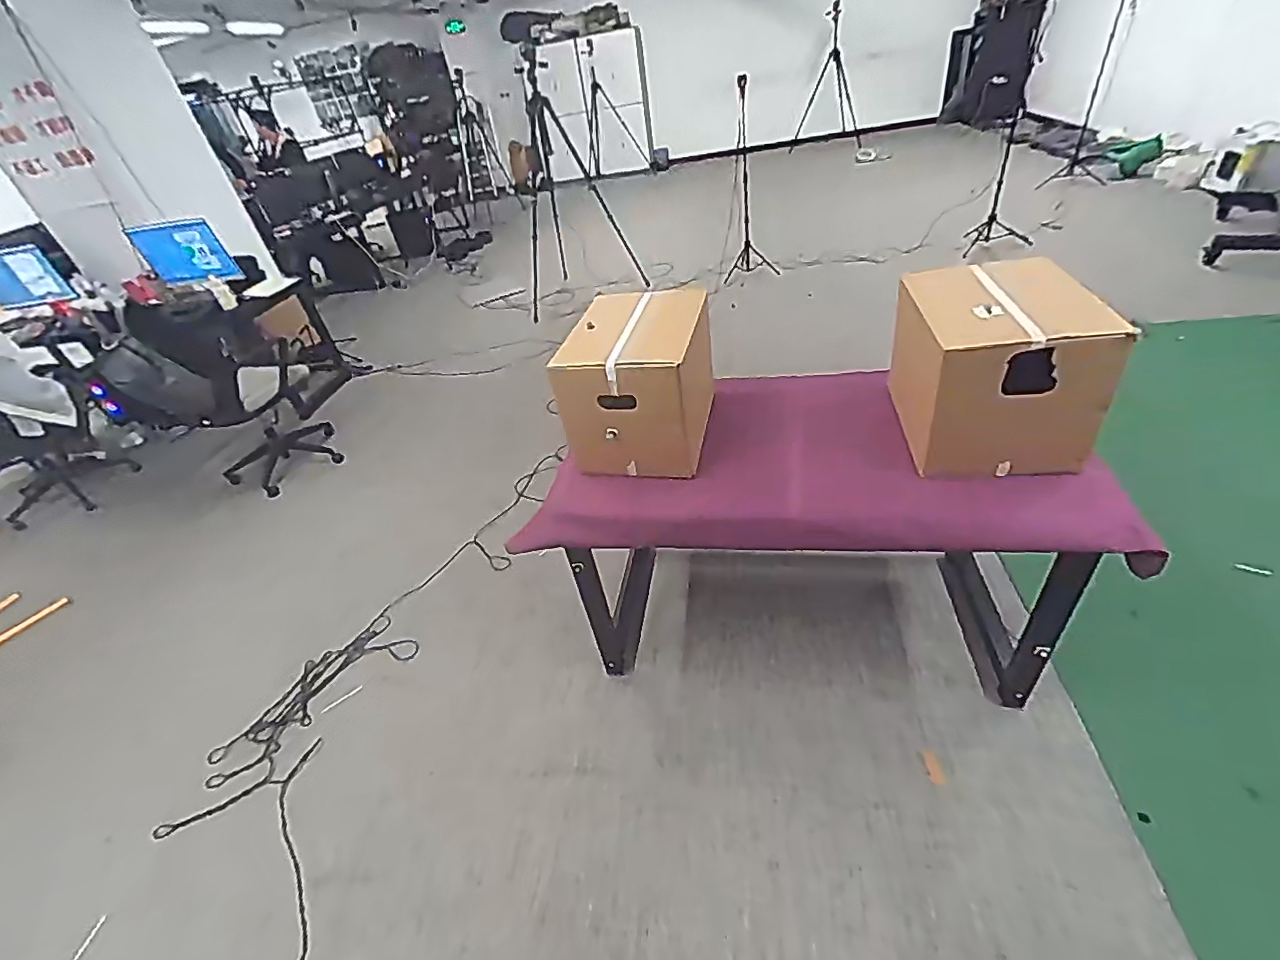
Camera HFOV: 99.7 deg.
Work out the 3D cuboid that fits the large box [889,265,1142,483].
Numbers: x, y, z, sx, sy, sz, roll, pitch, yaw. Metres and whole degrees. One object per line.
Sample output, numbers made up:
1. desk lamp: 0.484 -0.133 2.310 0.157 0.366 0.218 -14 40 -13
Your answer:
1. large box: 0.771 -0.241 1.203 0.320 0.320 0.408 -3 39 14
